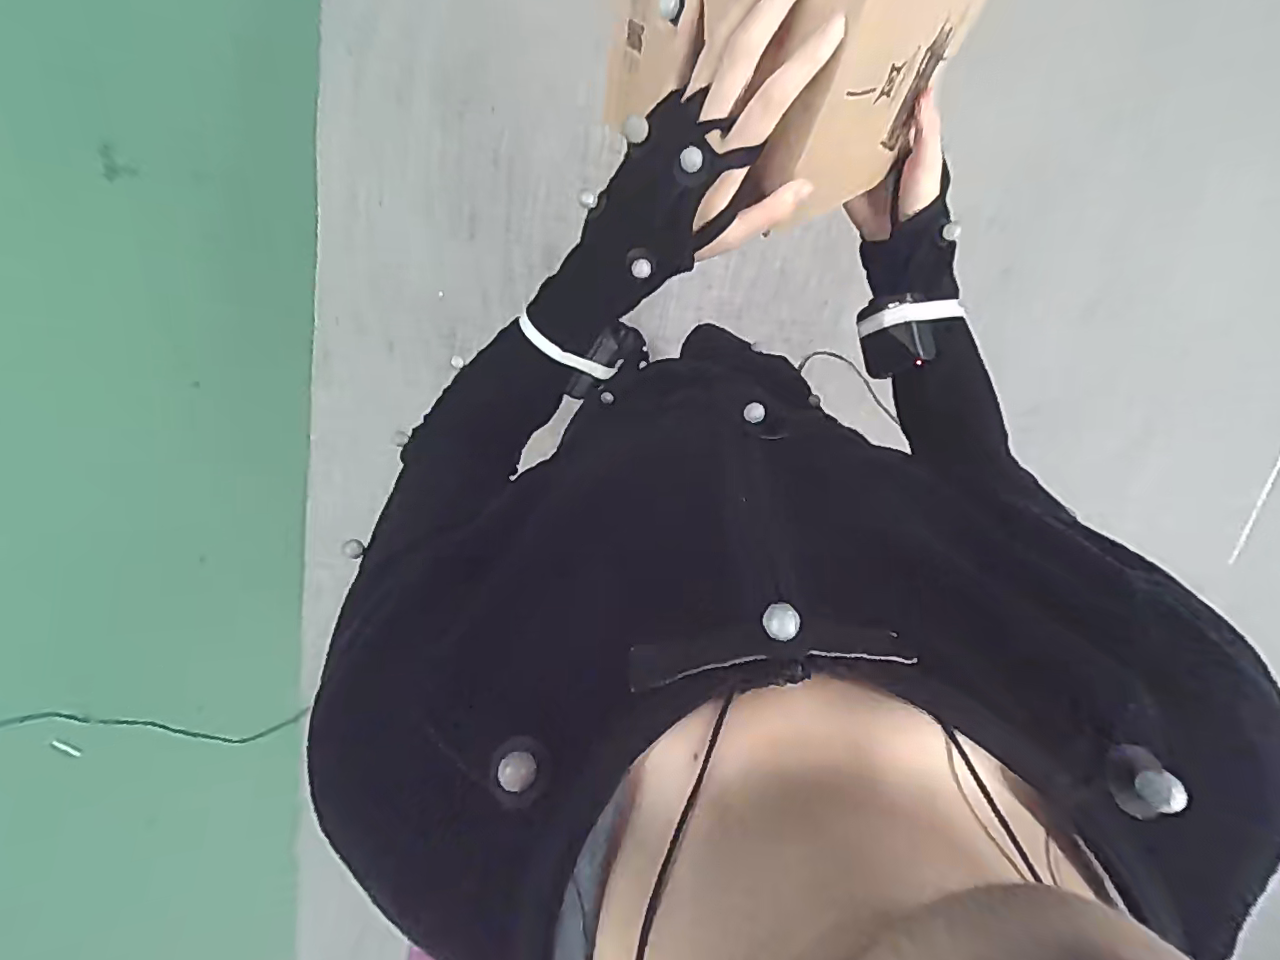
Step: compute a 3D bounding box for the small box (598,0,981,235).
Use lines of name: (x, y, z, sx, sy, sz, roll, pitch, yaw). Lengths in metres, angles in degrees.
small box: (0.098, -0.305, 0.364, 0.179, 0.168, 0.176, -35, 70, -30)
